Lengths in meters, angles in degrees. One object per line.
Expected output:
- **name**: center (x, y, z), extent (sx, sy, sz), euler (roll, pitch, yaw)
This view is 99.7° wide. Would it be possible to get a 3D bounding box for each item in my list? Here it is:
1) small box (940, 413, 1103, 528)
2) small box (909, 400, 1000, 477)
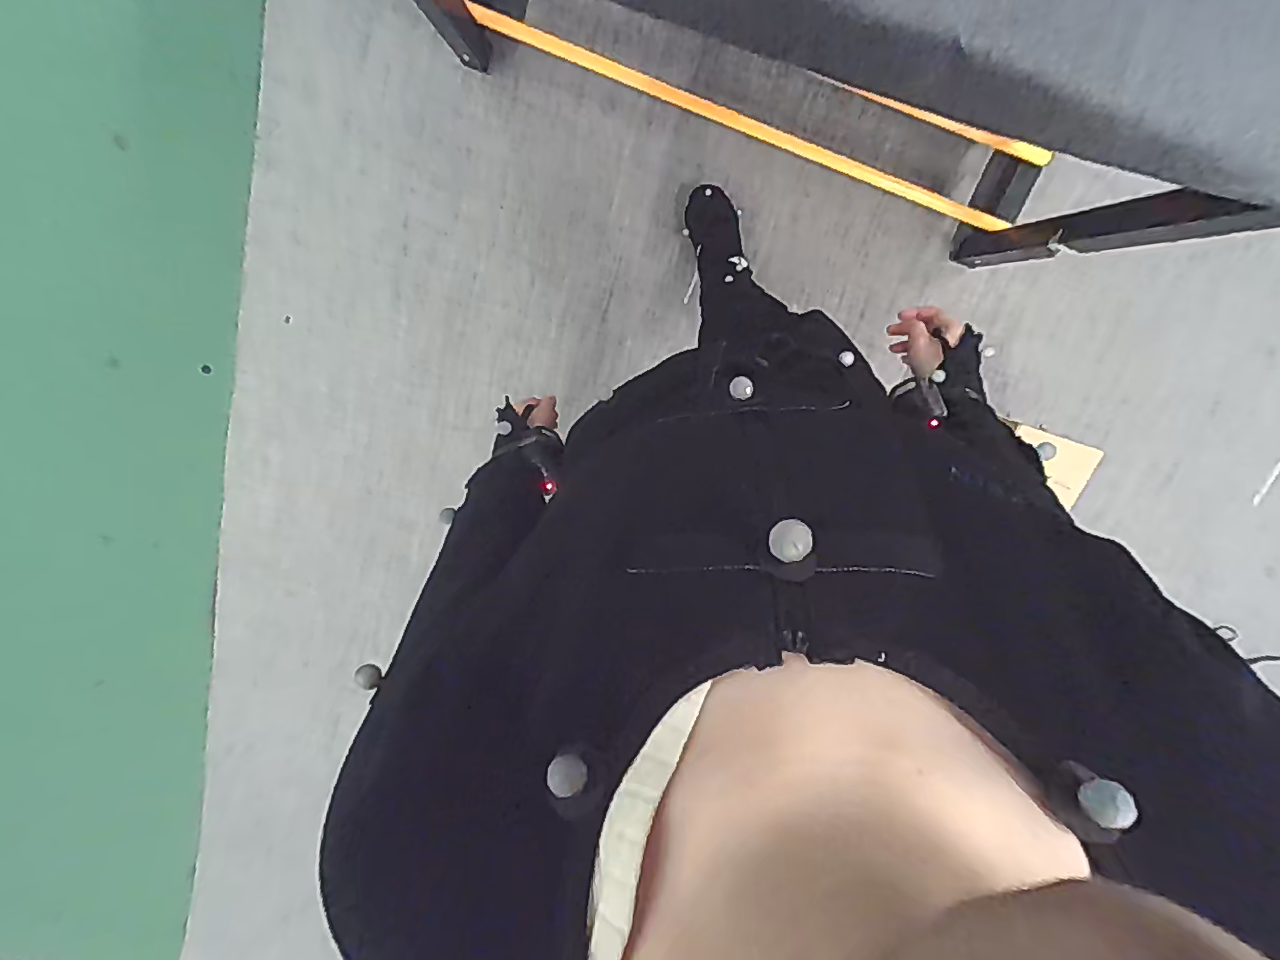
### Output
- **small box**: center (0.751, -0.028, 1.090), extent (0.179, 0.176, 0.168), euler (17, 107, -5)
- **small box**: center (0.767, -0.075, 1.247), extent (0.179, 0.176, 0.168), euler (18, 106, -5)
